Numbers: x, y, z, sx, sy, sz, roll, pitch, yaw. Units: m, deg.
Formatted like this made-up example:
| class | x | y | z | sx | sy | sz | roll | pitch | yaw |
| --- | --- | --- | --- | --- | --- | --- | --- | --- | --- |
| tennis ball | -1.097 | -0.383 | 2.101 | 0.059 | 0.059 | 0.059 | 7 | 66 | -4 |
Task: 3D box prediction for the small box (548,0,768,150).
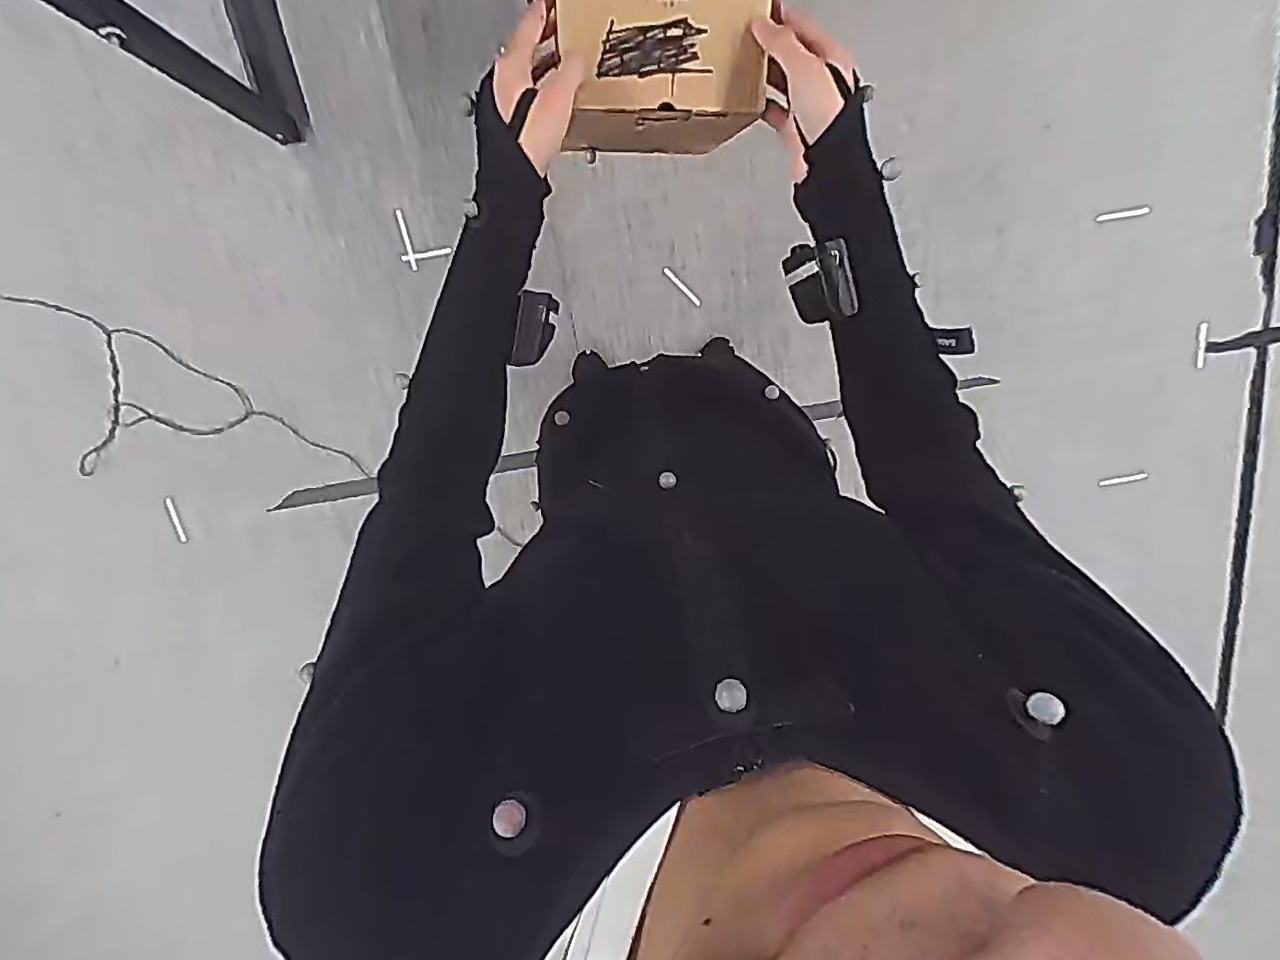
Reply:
| class | x | y | z | sx | sy | sz | roll | pitch | yaw |
| --- | --- | --- | --- | --- | --- | --- | --- | --- | --- |
| small box | 0.005 | -0.402 | 0.471 | 0.168 | 0.176 | 0.179 | -4 | 111 | -9 |
